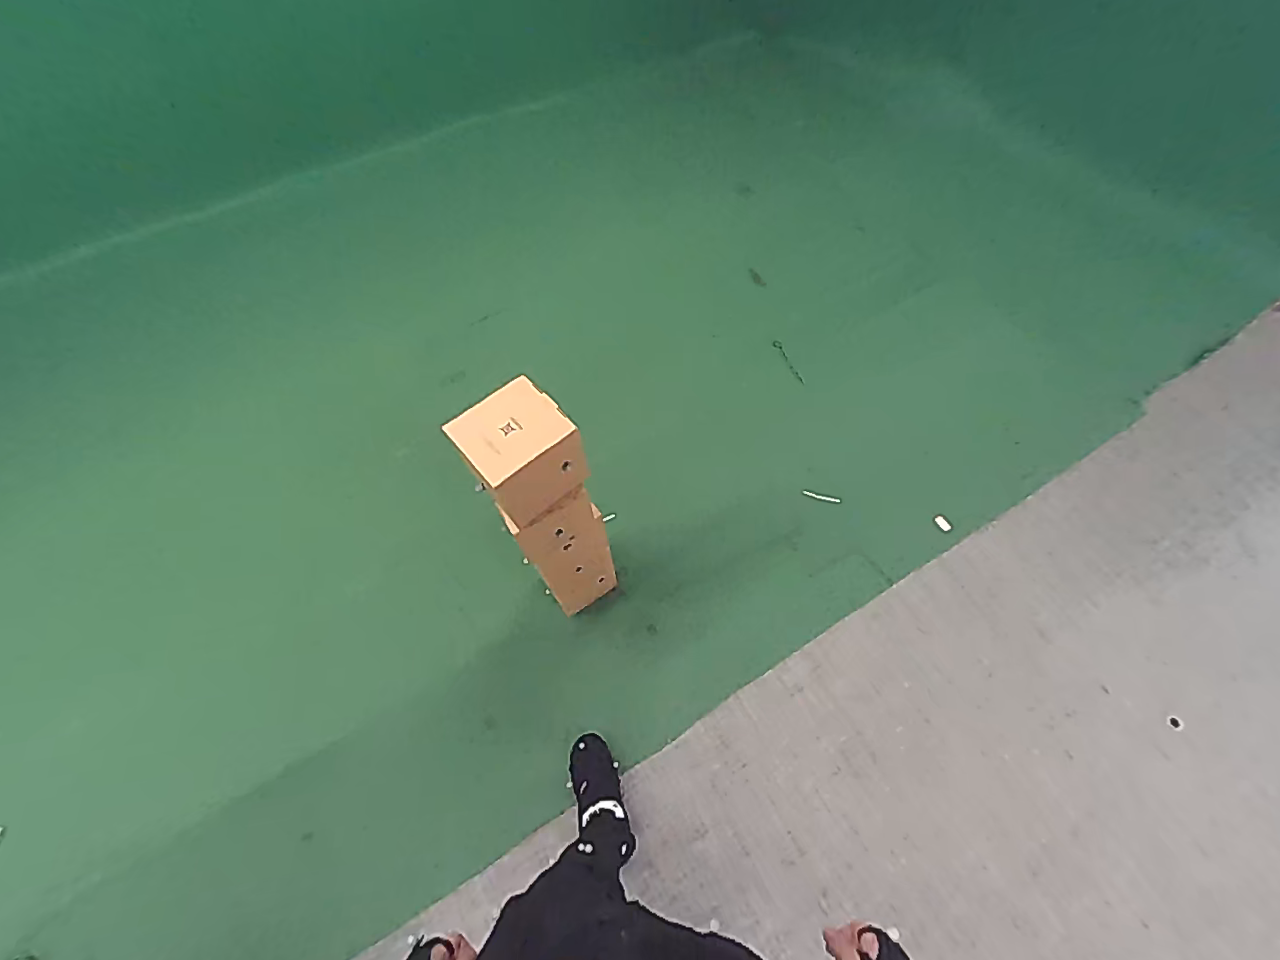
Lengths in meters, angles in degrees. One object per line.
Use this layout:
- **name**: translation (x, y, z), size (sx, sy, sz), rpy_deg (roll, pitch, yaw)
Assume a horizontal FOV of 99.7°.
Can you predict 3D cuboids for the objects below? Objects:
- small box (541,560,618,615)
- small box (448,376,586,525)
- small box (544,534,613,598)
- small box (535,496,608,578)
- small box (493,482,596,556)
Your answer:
- **small box**: translation (-0.177, 0.262, 1.568), size (0.179, 0.176, 0.168), rpy_deg (-32, 64, -15)
- **small box**: translation (-0.213, -0.050, 0.997), size (0.179, 0.176, 0.168), rpy_deg (-38, 65, -16)
- **small box**: translation (-0.182, 0.182, 1.428), size (0.179, 0.176, 0.168), rpy_deg (-31, 64, -14)
- **small box**: translation (-0.192, 0.105, 1.284), size (0.179, 0.176, 0.168), rpy_deg (-33, 65, -16)
- **small box**: translation (-0.205, 0.041, 1.133), size (0.168, 0.176, 0.179), rpy_deg (-30, 65, -13)
